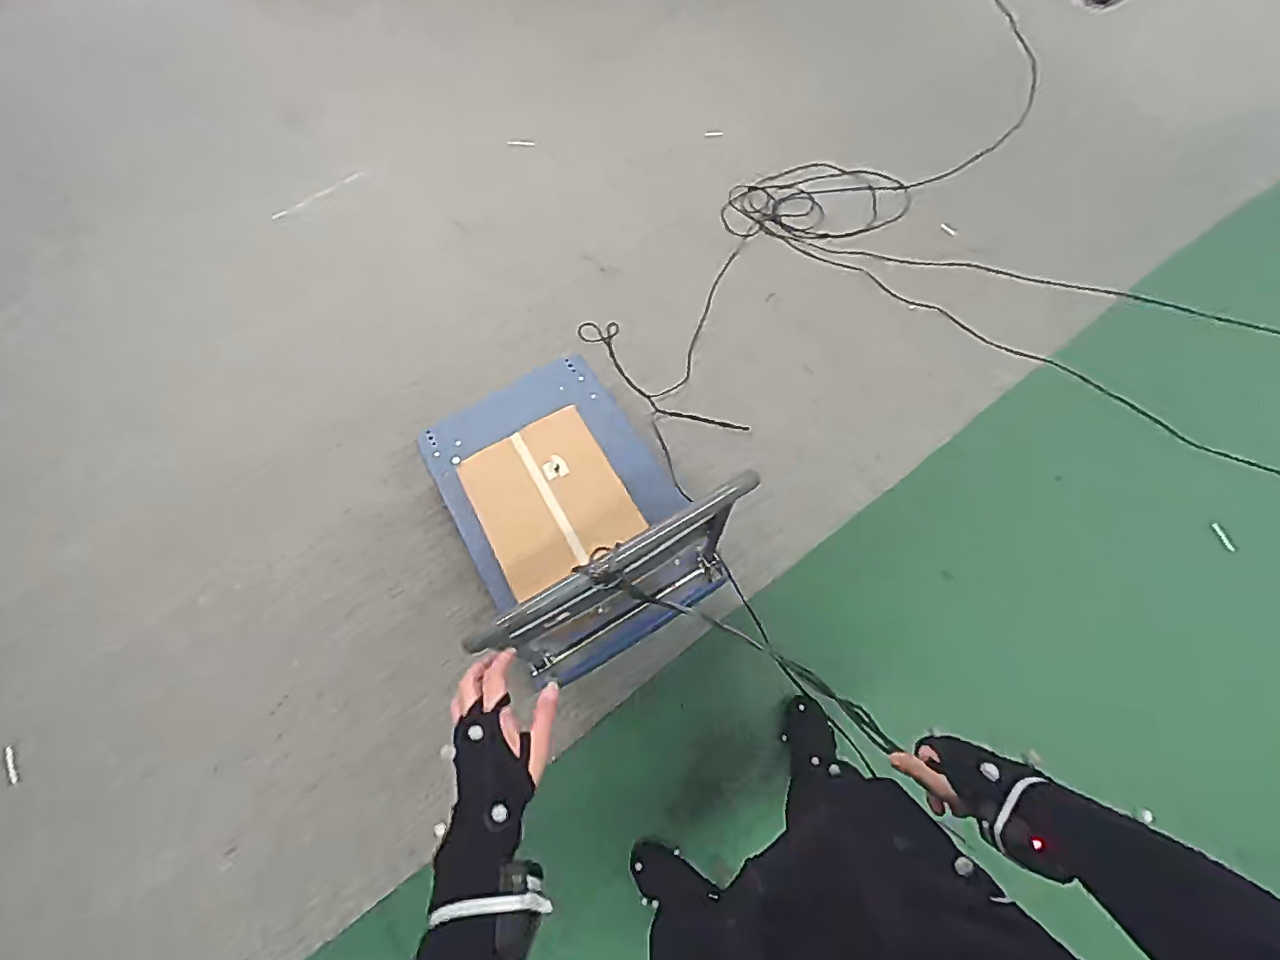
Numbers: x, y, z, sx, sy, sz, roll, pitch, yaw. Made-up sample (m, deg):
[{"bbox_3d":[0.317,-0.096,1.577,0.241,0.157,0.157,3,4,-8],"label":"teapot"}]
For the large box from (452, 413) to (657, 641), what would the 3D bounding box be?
[{"bbox_3d":[-0.192,0.123,1.323,0.320,0.320,0.408,-28,66,-10],"label":"large box"}]
